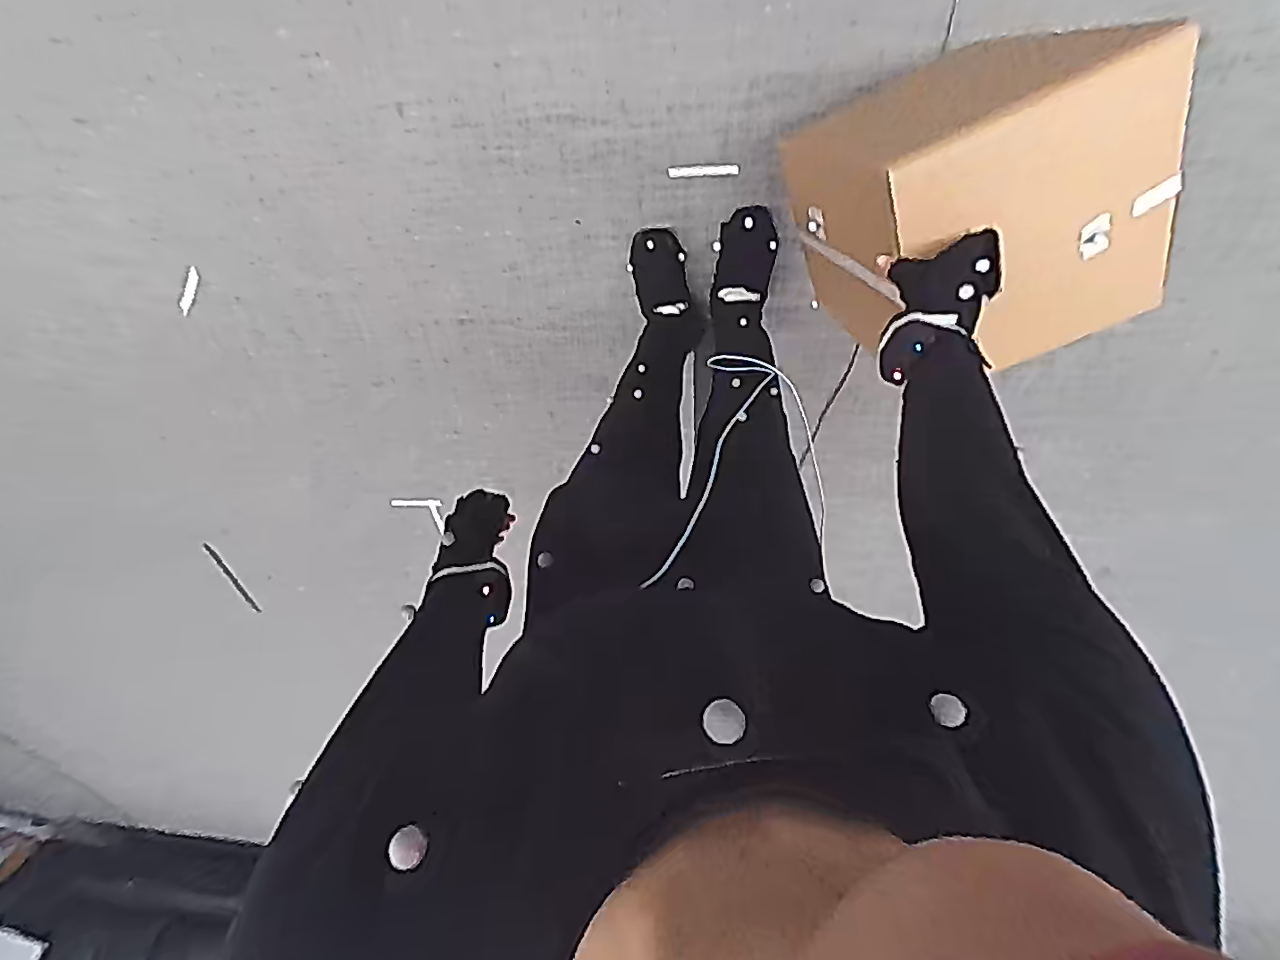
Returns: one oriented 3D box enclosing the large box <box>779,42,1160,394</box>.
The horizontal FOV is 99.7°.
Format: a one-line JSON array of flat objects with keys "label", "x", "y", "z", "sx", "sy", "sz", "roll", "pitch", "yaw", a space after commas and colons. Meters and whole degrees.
[{"label": "large box", "x": 0.447, "y": -0.396, "z": 0.815, "sx": 0.320, "sy": 0.408, "sz": 0.320, "roll": -21, "pitch": 125, "yaw": 11}]
